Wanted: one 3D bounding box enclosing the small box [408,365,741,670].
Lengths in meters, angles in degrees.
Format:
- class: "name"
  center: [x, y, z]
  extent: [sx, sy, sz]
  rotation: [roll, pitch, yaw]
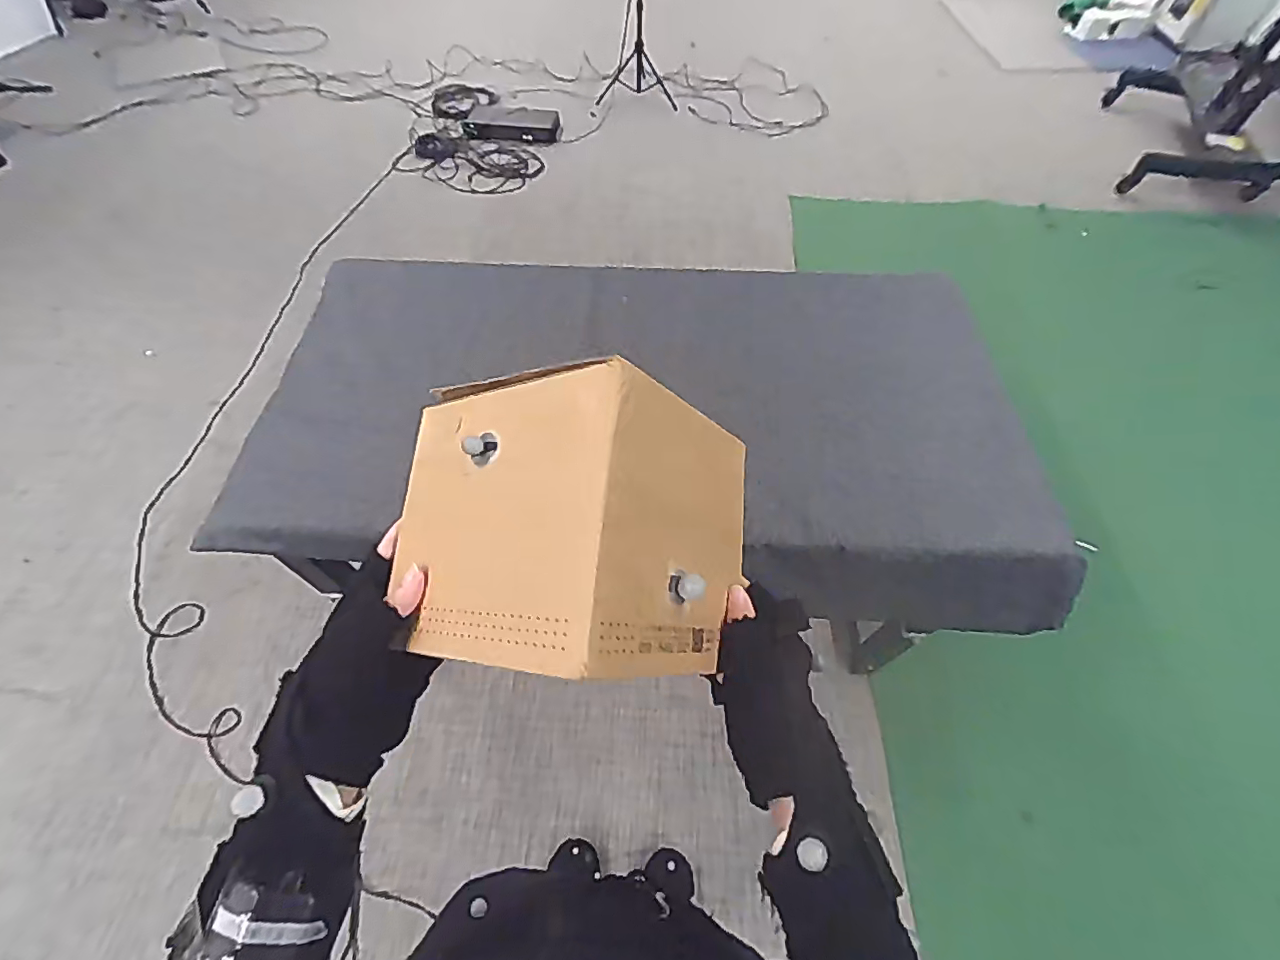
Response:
- class: "small box"
  center: [-0.042, 0.040, 0.395]
  extent: [0.179, 0.168, 0.176]
  rotation: [-4, 74, 35]
